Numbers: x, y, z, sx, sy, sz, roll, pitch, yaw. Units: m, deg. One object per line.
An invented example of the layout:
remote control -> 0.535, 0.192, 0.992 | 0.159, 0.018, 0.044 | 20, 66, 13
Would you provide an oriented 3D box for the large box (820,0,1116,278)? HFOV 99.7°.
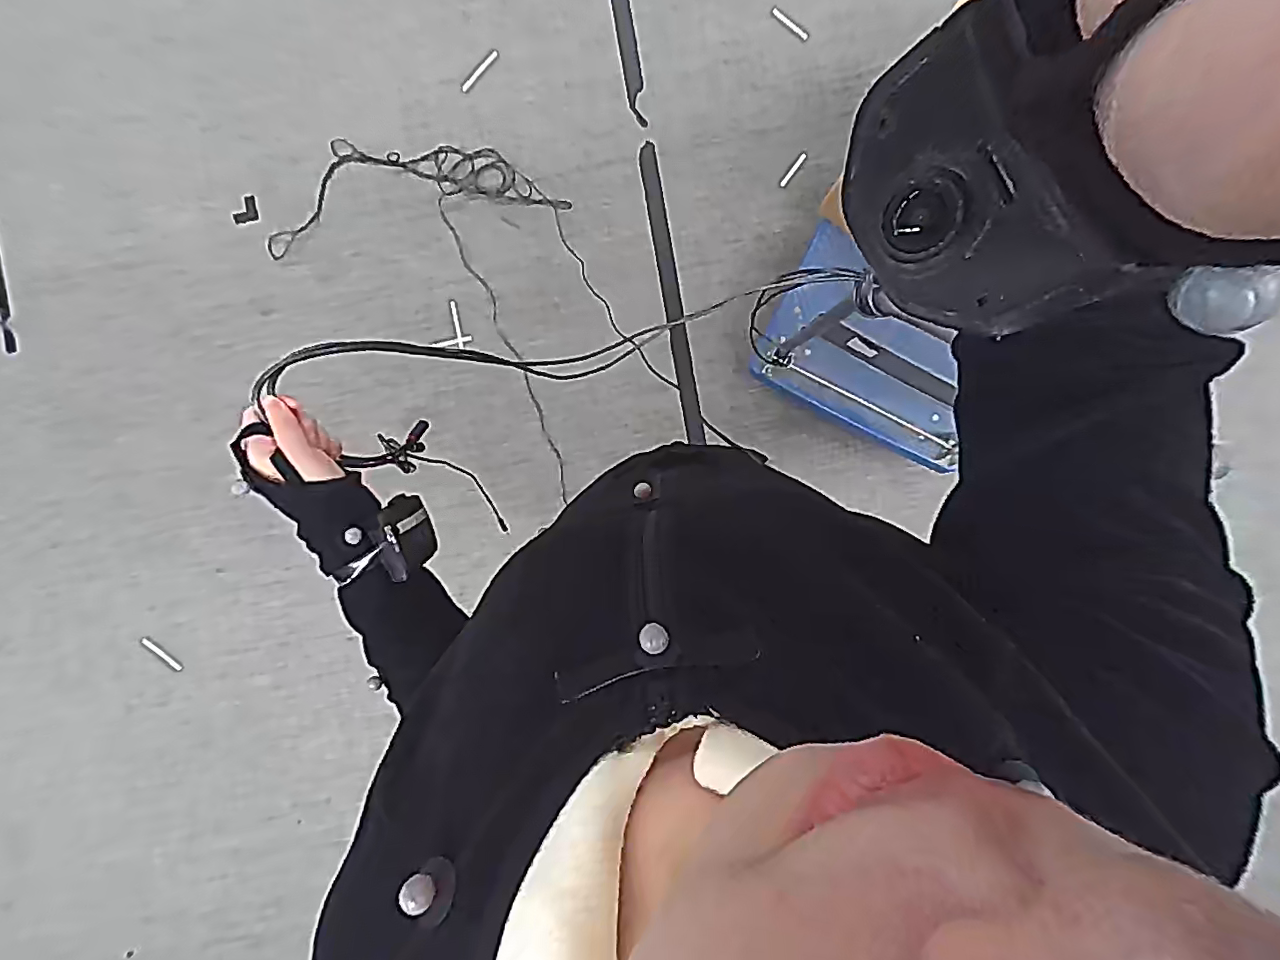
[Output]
large box -> 0.656, -0.725, 1.153 | 0.320, 0.320, 0.408 | 32, 91, -2
